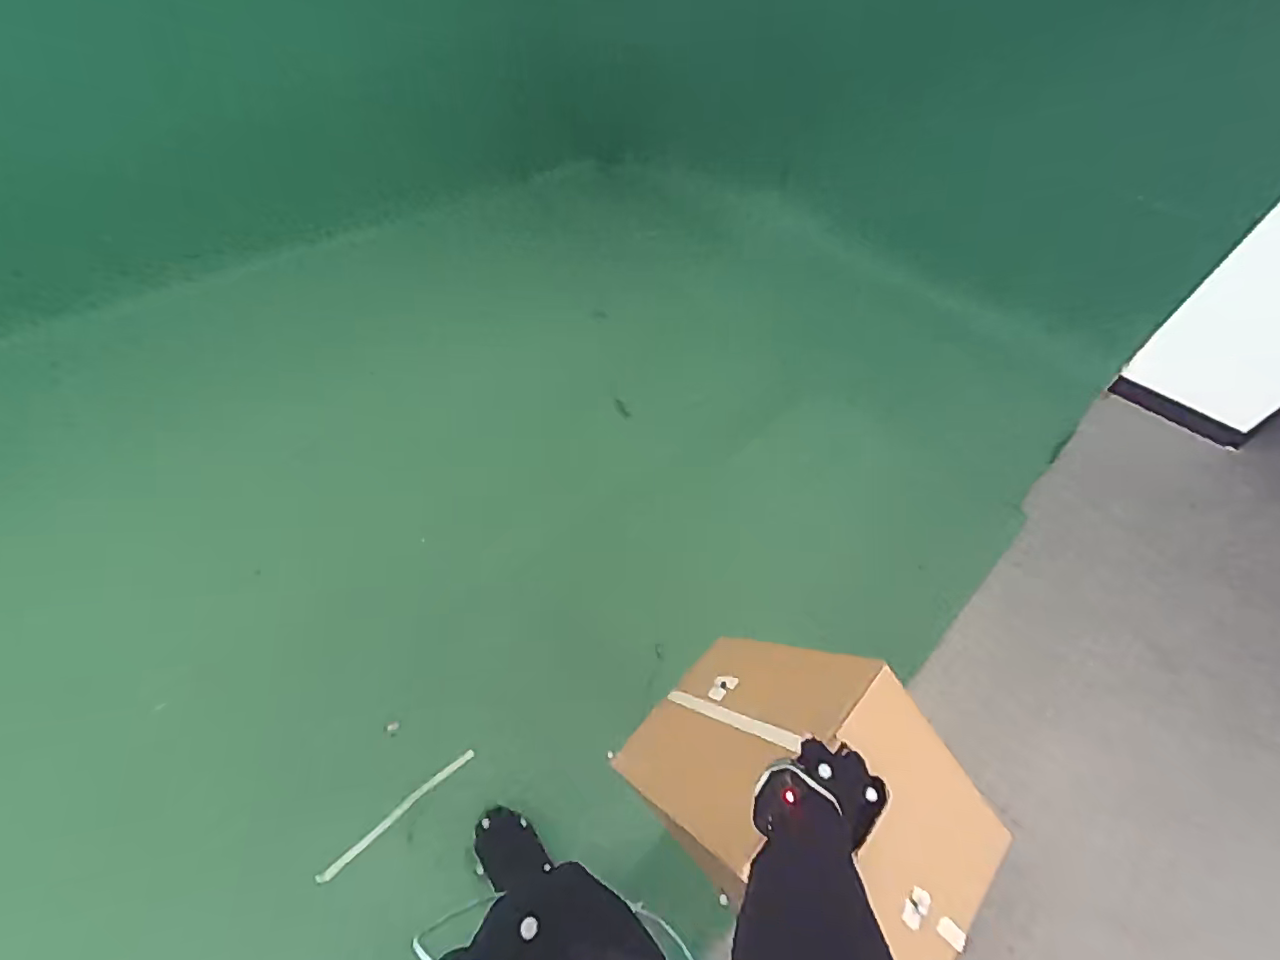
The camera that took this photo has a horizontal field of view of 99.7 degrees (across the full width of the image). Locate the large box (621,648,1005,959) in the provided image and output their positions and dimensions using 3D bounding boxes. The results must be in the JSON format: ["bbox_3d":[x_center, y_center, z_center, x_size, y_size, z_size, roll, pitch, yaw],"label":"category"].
[{"bbox_3d":[0.238,0.496,0.840,0.320,0.408,0.320,-39,94,-25],"label":"large box"}]
